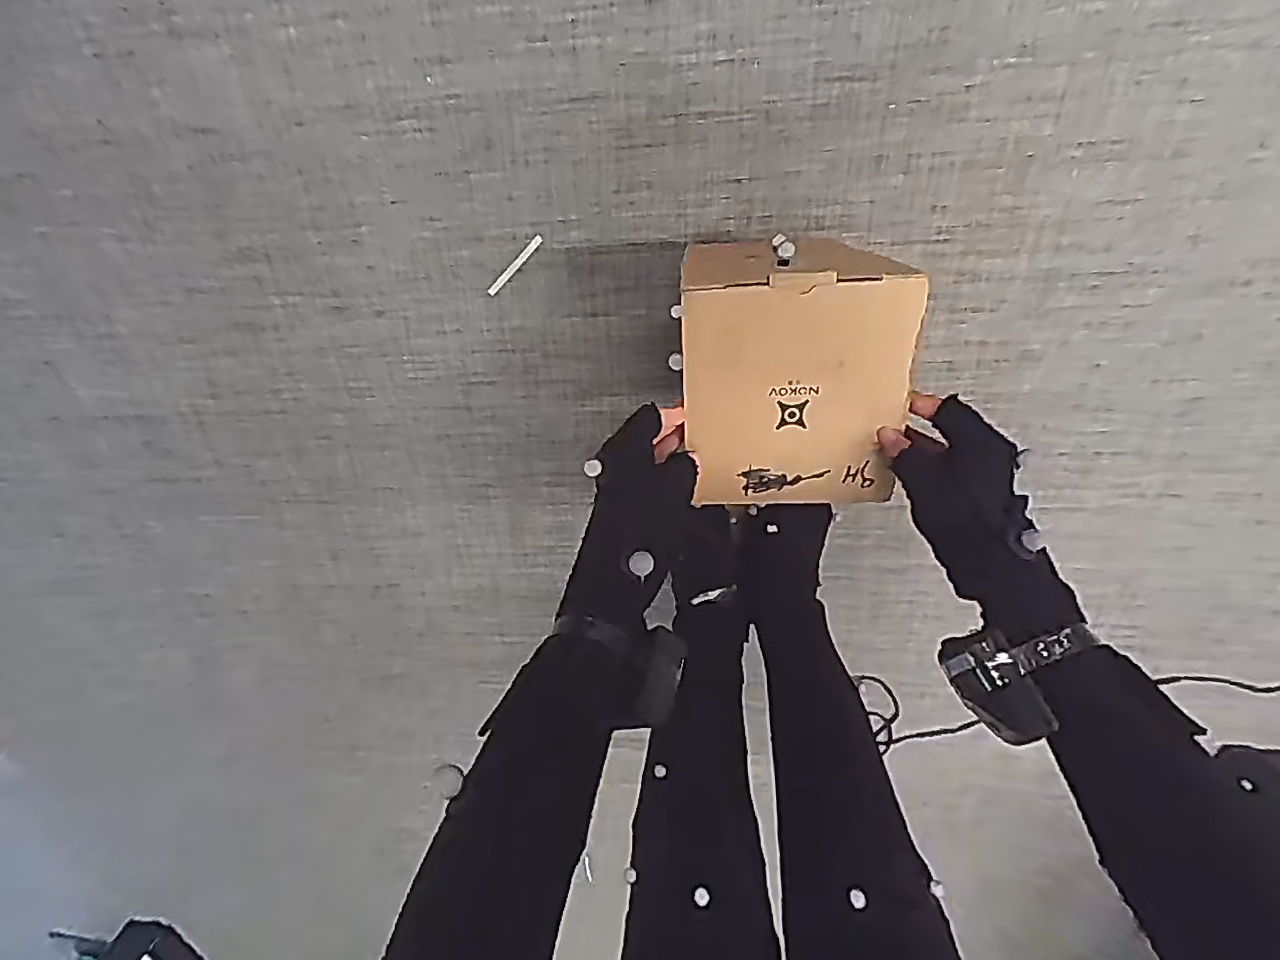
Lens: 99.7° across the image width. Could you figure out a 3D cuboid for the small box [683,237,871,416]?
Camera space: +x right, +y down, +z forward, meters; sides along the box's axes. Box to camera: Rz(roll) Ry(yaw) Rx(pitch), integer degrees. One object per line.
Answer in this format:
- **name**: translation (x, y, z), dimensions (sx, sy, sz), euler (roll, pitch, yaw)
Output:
- **small box**: translation (0.142, -0.180, 0.619), dimensions (0.179, 0.176, 0.168), euler (0, 119, 7)
